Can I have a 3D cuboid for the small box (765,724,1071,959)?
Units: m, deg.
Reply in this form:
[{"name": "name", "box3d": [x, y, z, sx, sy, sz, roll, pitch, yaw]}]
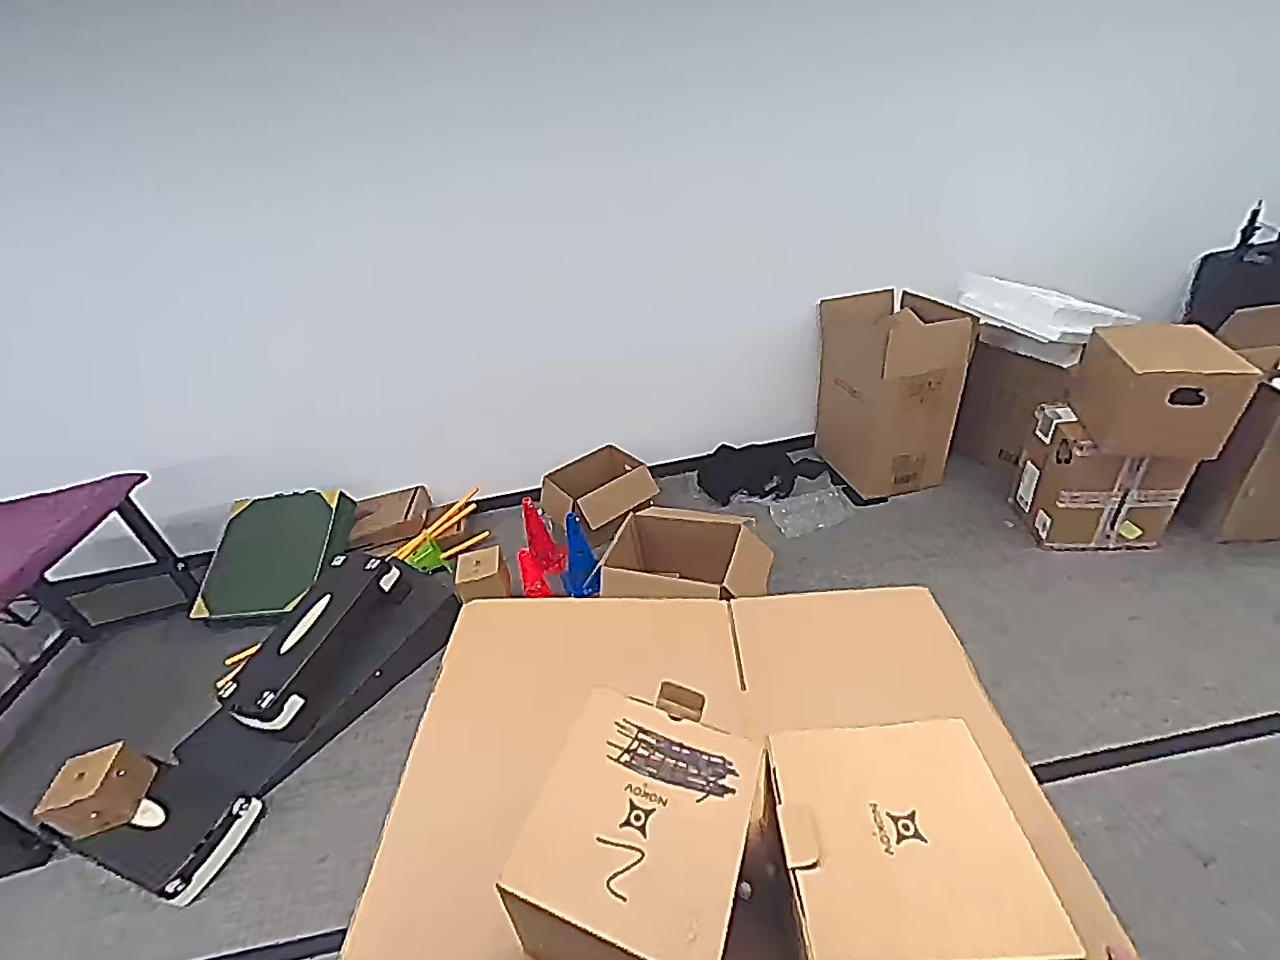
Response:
[{"name": "small box", "box3d": [0.211, 0.339, 0.474, 0.179, 0.176, 0.168, -6, 35, 4]}]
